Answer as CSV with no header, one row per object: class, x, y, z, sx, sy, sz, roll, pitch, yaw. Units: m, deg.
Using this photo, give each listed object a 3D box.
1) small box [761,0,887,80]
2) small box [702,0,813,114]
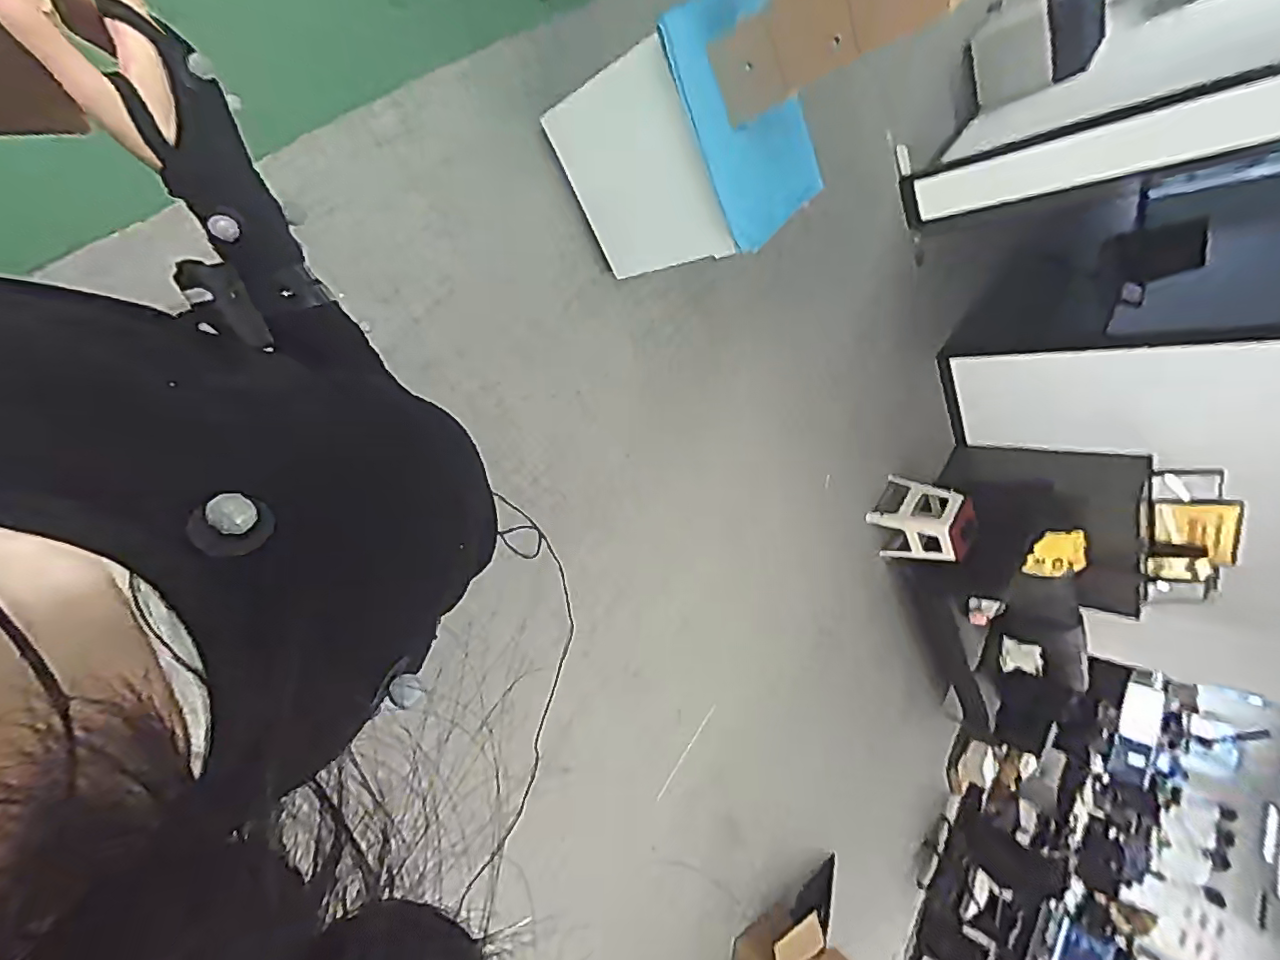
small box,0.380,-0.966,1.117,0.168,0.176,0.179,-49,125,-27
small box,0.275,-0.979,1.243,0.168,0.176,0.179,-49,125,-26
